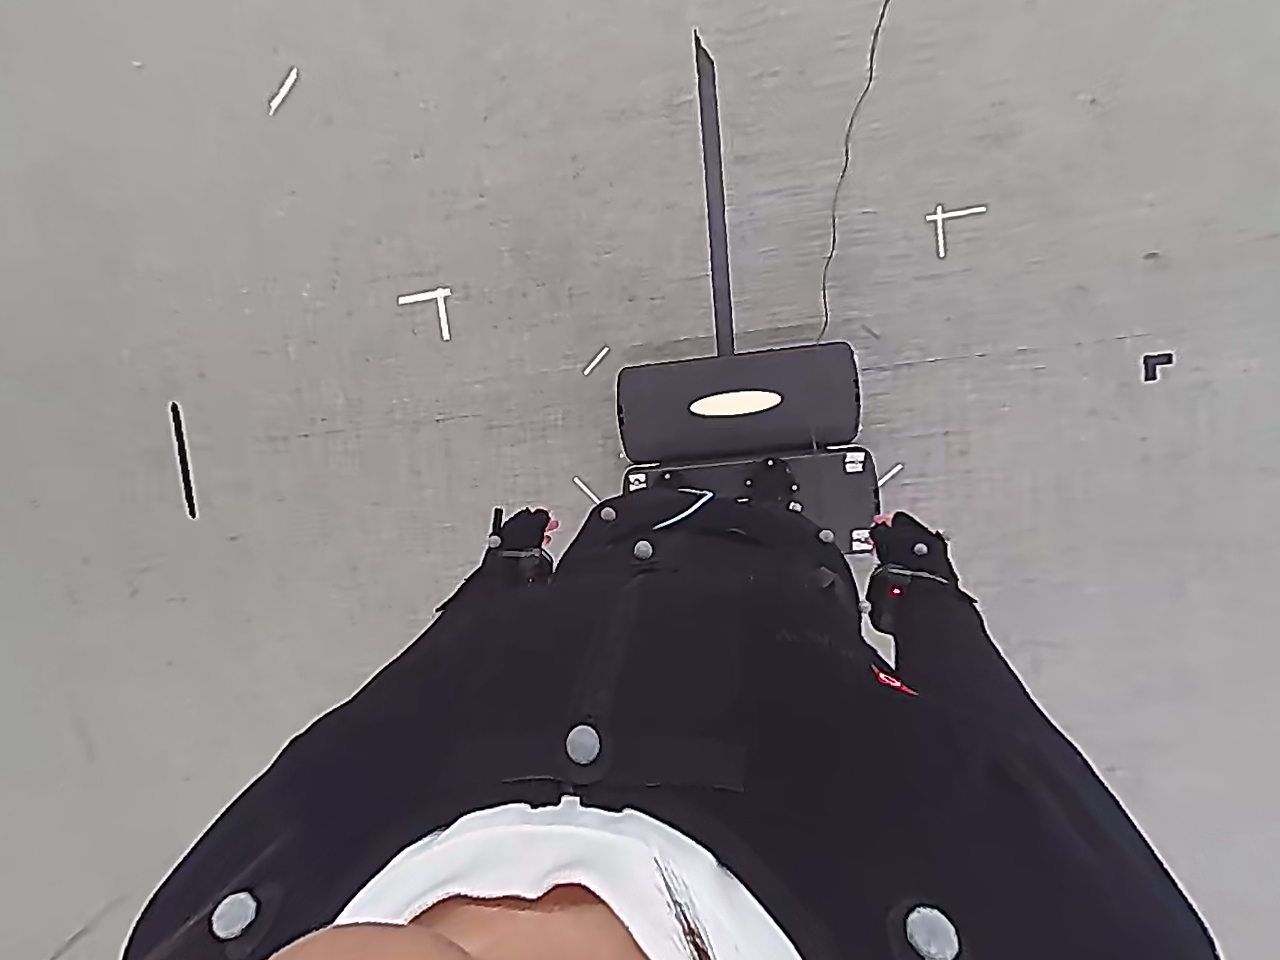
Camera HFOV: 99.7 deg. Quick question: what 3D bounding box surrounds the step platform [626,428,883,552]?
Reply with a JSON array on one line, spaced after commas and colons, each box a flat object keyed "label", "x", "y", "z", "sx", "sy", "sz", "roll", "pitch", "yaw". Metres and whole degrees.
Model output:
[{"label": "step platform", "x": 0.304, "y": 0.030, "z": 1.507, "sx": 0.684, "sy": 0.204, "sz": 0.286, "roll": -6, "pitch": 93, "yaw": 9}]
